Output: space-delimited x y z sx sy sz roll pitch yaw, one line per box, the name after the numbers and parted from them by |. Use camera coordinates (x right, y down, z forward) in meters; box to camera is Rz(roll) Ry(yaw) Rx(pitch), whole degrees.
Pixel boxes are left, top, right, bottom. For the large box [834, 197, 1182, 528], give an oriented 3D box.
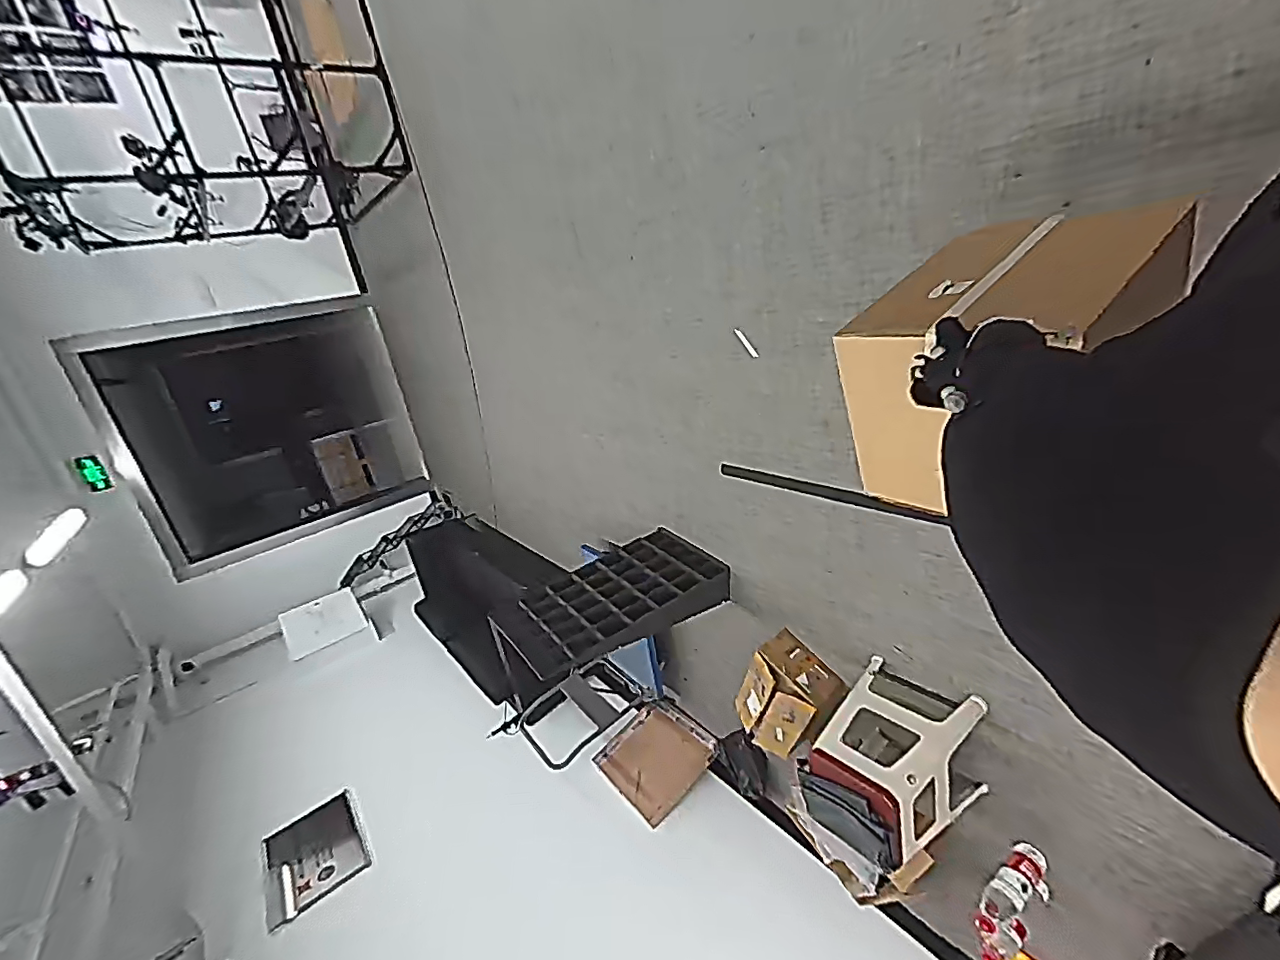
0.581 -0.194 0.865 0.320 0.408 0.320 20 143 52 | large box
